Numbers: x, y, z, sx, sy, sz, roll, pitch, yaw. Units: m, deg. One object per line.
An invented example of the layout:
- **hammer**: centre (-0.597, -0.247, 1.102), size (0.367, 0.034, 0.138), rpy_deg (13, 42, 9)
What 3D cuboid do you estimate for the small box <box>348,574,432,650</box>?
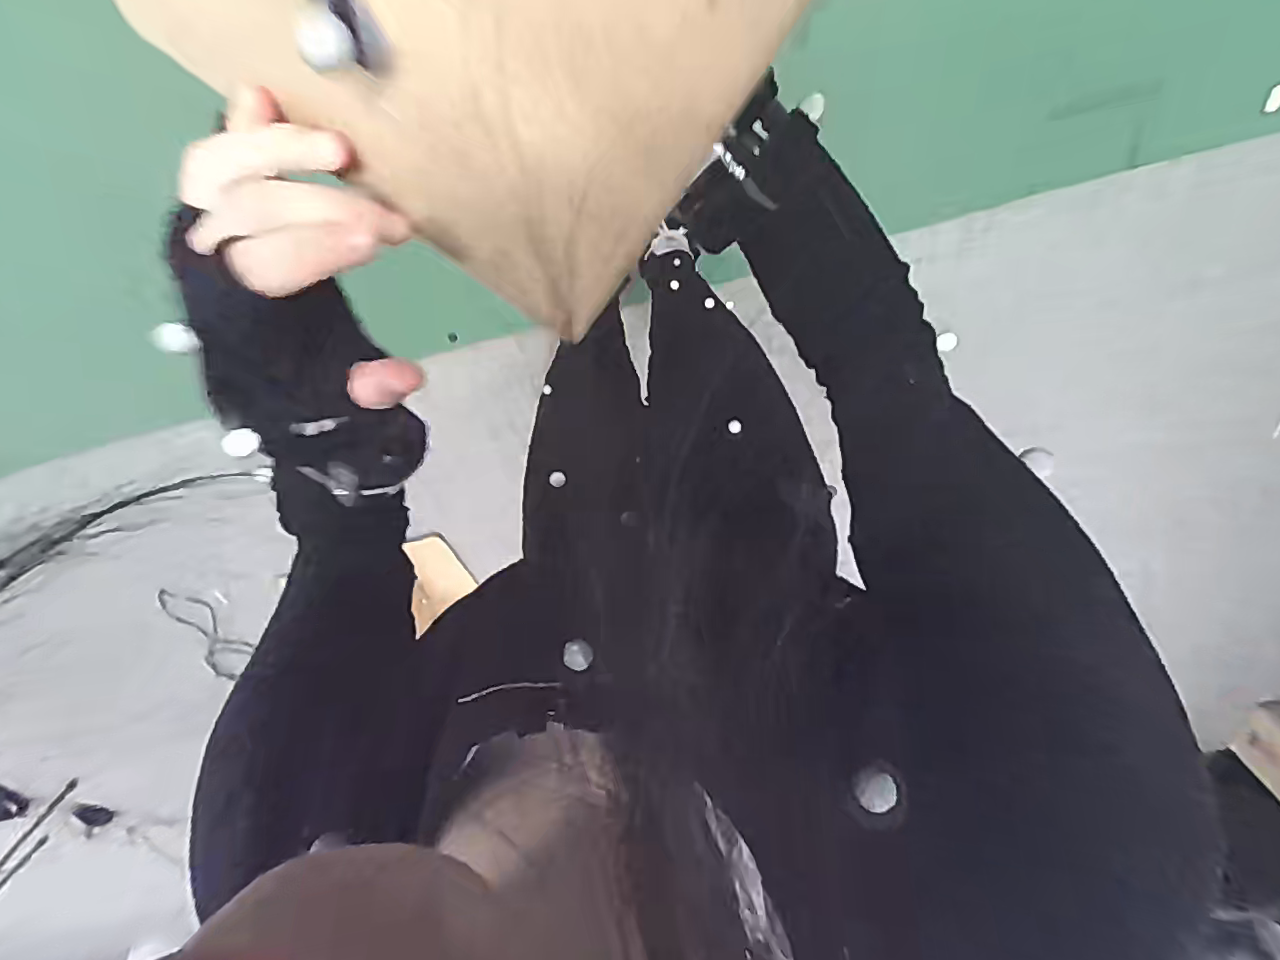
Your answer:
- **small box**: centre (-0.824, 0.438, 1.803), size (0.179, 0.176, 0.168), rpy_deg (-12, 129, 4)
